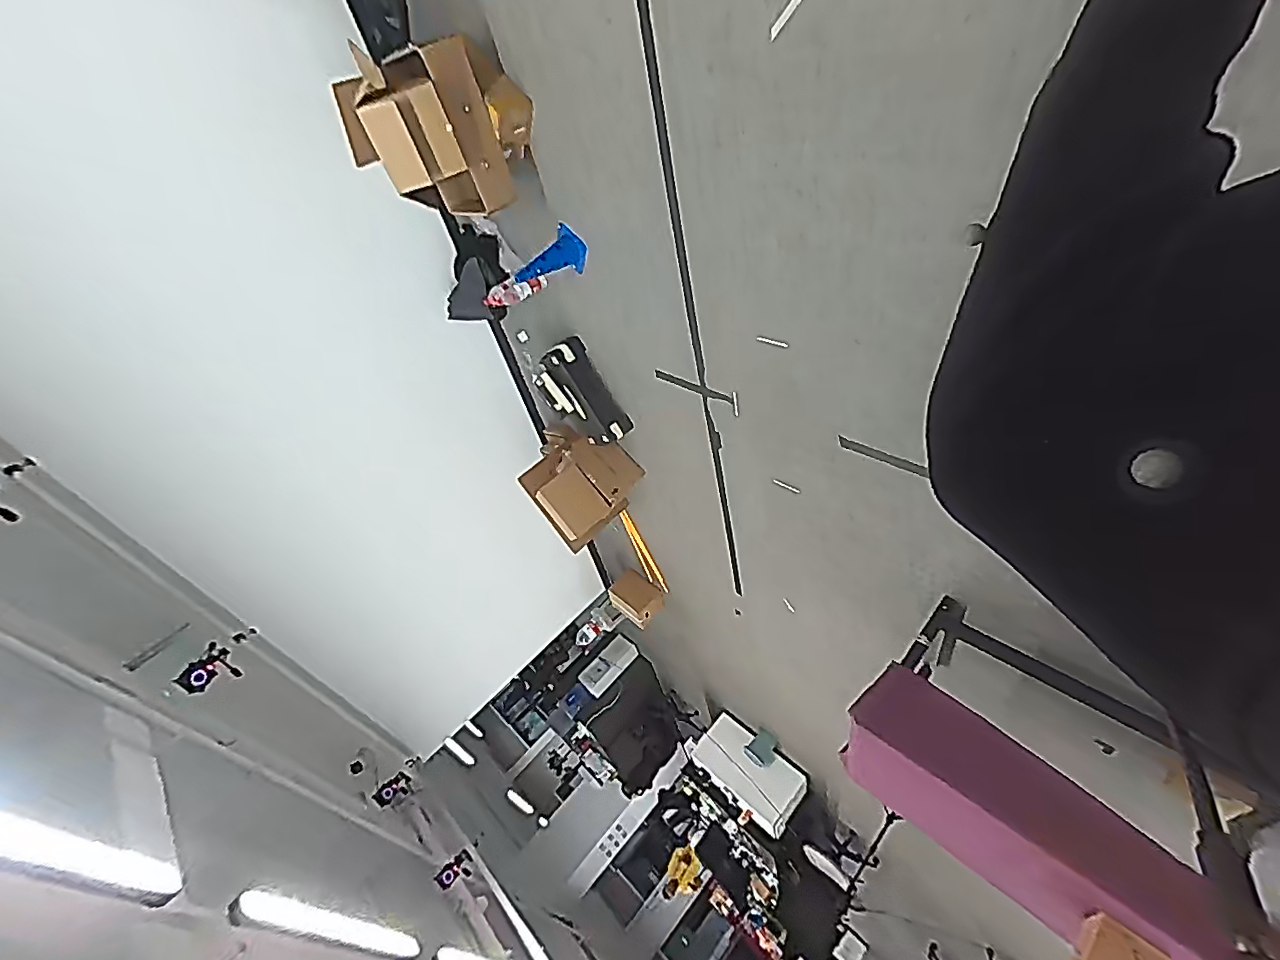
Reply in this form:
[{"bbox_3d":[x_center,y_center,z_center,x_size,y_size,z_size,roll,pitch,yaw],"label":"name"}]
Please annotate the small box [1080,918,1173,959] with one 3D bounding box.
[{"bbox_3d":[1.443,1.453,1.602,0.168,0.176,0.179,28,147,38],"label":"small box"}]
